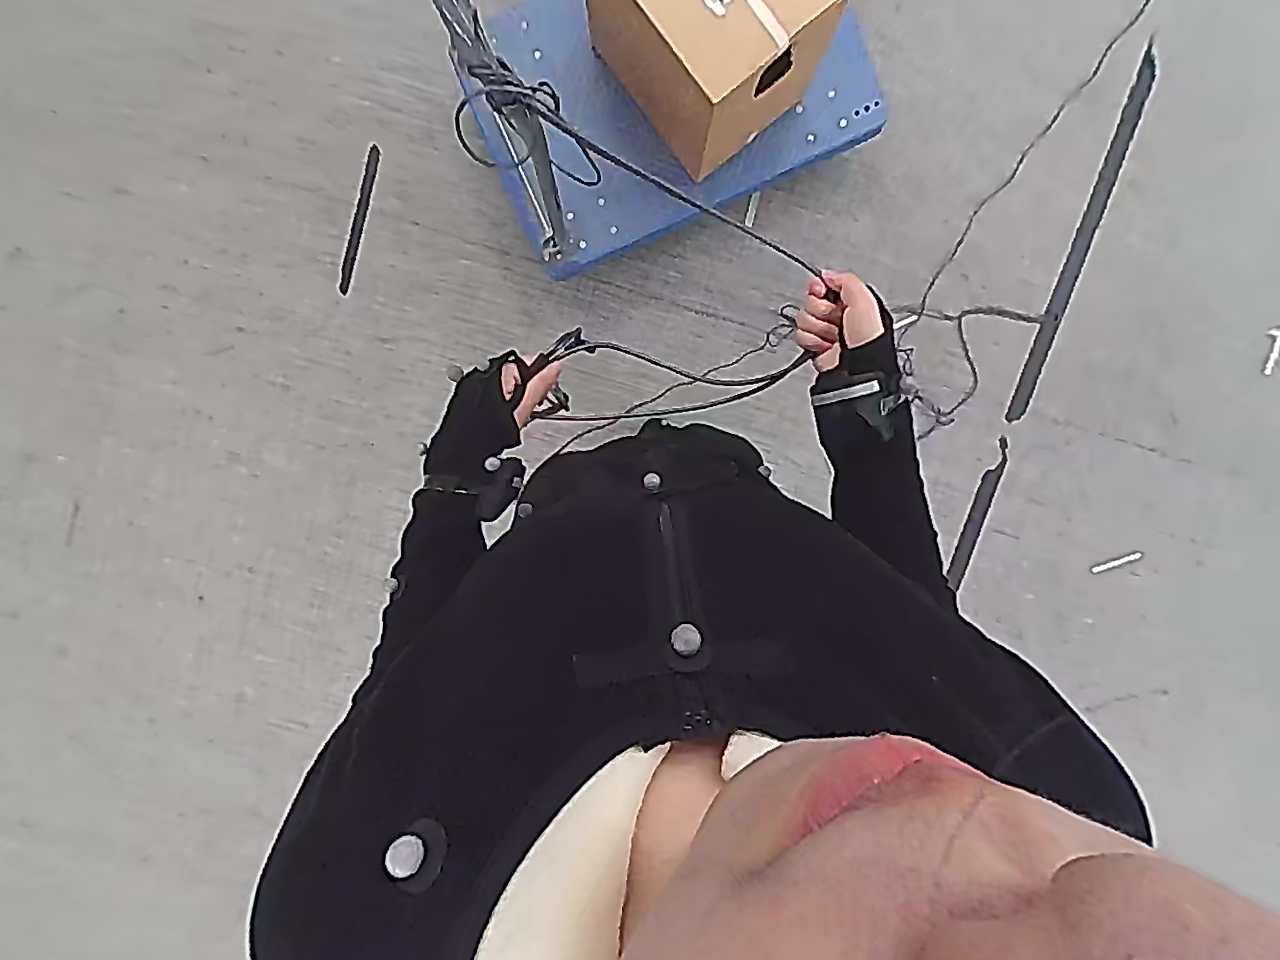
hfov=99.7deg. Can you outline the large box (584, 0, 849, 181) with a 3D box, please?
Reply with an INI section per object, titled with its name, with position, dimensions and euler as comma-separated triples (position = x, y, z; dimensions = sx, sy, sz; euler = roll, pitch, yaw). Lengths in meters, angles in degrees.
[large box]
position = 0.125, -0.917, 1.078
dimensions = 0.320, 0.320, 0.408
euler = -39, 95, 4
